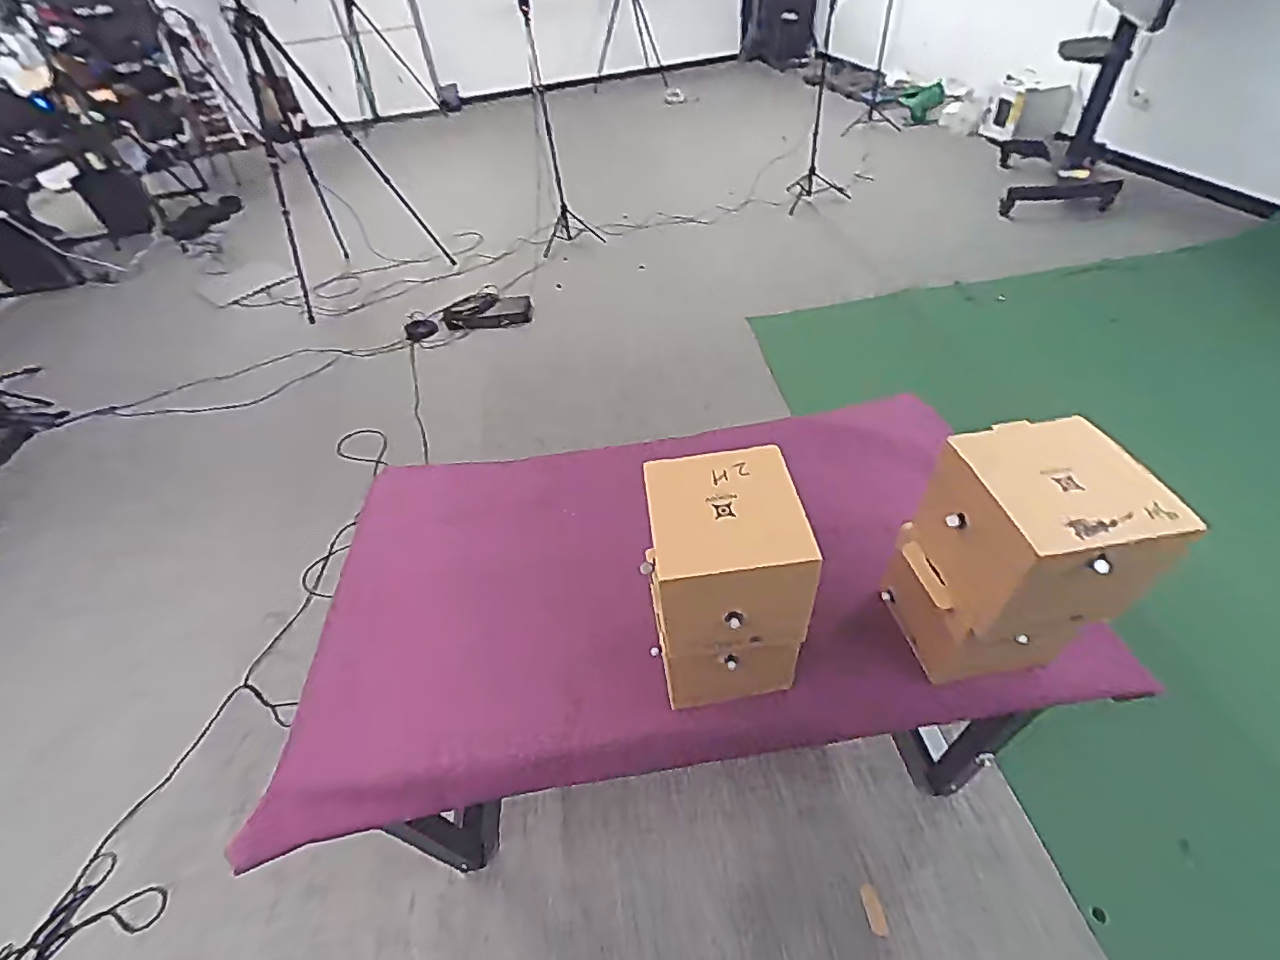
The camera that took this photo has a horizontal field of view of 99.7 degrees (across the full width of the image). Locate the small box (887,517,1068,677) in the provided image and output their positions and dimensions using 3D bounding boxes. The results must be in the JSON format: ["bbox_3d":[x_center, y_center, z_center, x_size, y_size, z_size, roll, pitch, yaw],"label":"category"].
[{"bbox_3d":[0.469,0.154,0.756,0.179,0.176,0.168,-11,46,-2],"label":"small box"}]

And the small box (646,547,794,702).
[{"bbox_3d":[0.113,0.197,0.772,0.179,0.176,0.168,-9,45,-1],"label":"small box"}]

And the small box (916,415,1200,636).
[{"bbox_3d":[0.451,0.053,0.627,0.168,0.176,0.179,-10,45,0],"label":"small box"}]

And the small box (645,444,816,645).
[{"bbox_3d":[0.101,0.084,0.653,0.168,0.176,0.179,-7,45,1],"label":"small box"}]
